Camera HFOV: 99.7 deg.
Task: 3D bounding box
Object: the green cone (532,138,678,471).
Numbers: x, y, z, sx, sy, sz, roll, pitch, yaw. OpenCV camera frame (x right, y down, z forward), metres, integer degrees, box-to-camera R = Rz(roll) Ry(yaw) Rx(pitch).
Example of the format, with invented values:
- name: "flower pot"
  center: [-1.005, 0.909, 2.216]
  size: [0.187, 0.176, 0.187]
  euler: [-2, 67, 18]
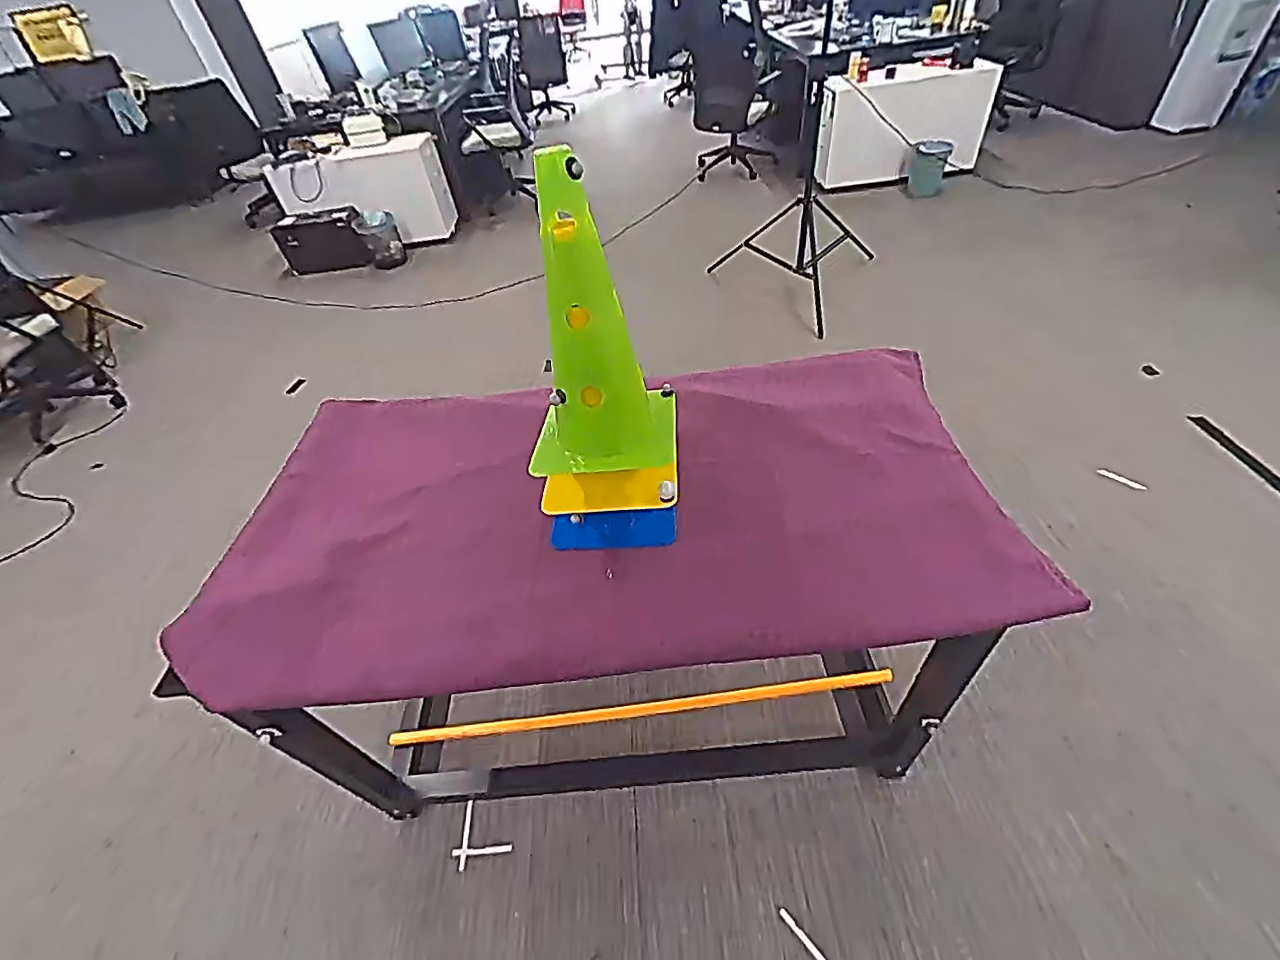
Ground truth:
- name: "green cone"
  center: [-0.071, -0.214, 0.677]
  size: [0.200, 0.368, 0.202]
  euler: [-5, 38, 6]
